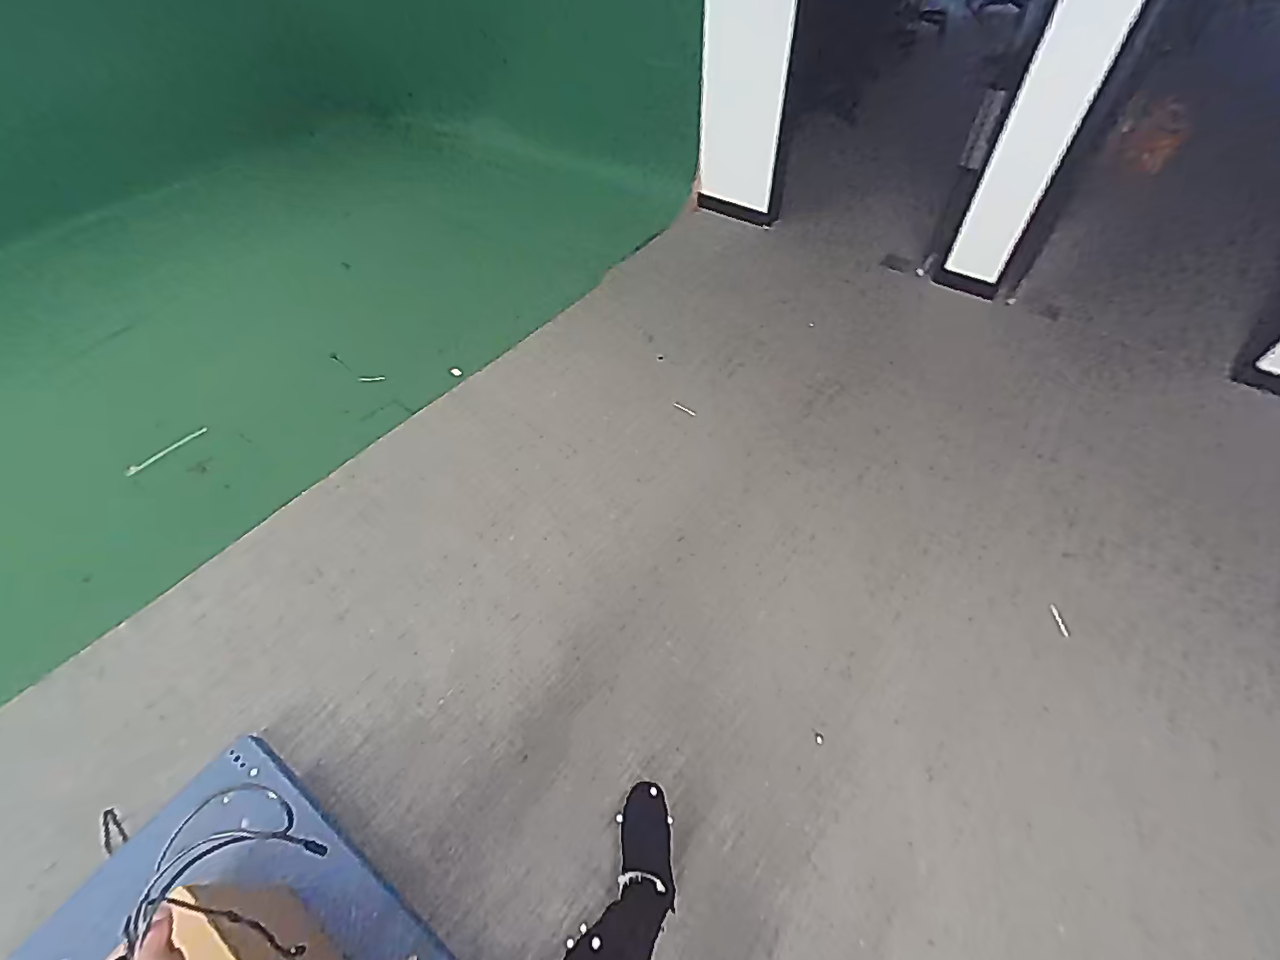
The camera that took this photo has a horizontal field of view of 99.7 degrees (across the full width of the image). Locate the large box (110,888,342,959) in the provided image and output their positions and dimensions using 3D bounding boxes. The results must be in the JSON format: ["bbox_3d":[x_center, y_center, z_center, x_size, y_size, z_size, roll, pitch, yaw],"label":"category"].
[{"bbox_3d":[-0.686,0.957,0.879,0.408,0.320,0.320,27,58,23],"label":"large box"}]
